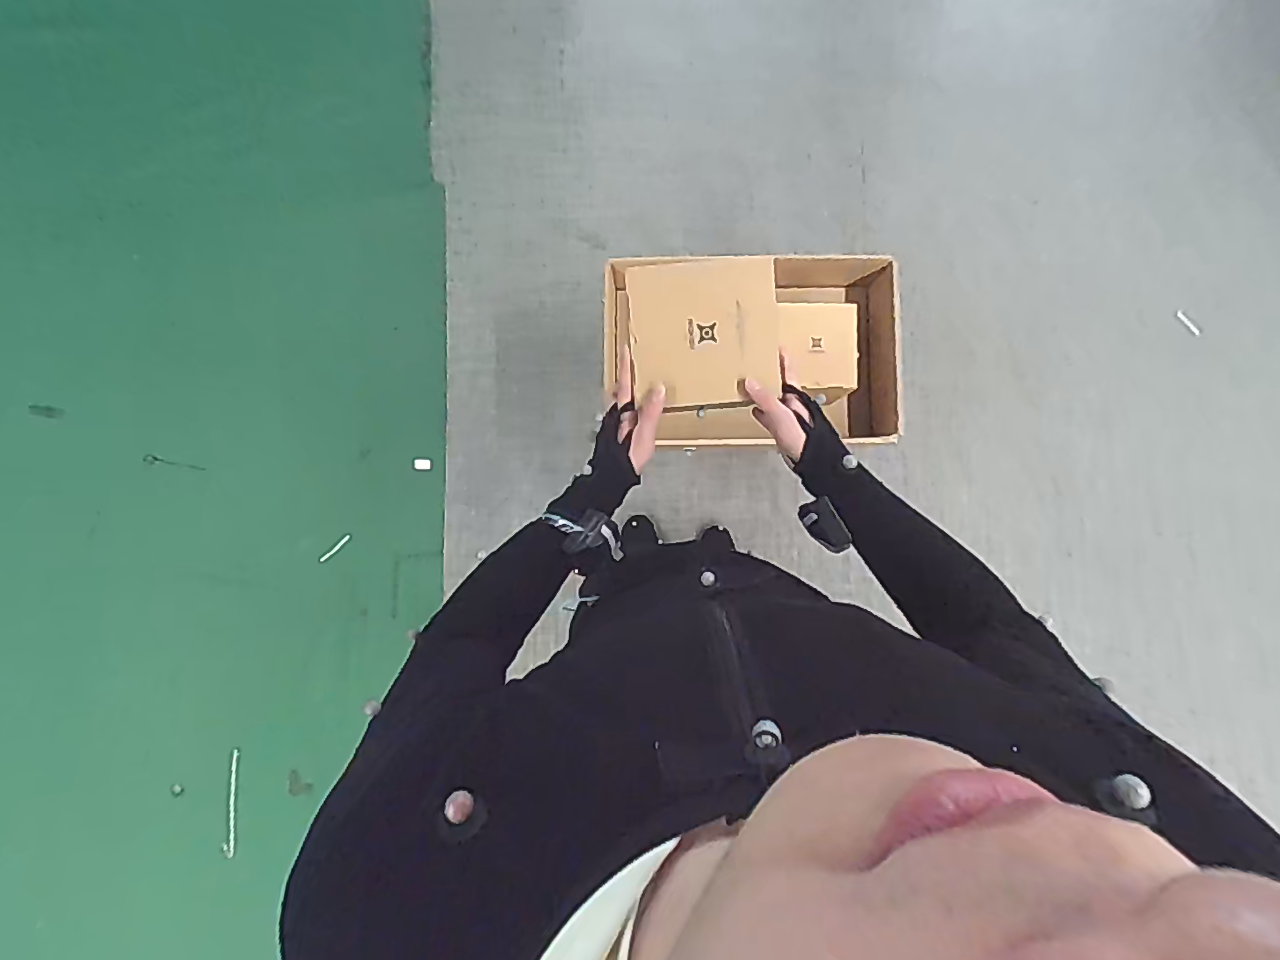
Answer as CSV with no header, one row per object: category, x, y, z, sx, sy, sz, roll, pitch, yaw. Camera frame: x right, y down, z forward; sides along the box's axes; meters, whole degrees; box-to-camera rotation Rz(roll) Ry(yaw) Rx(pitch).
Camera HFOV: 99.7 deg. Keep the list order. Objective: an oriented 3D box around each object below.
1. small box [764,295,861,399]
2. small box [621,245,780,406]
small box,0.361,-0.280,1.161,0.168,0.176,0.179,1,88,1
small box,0.070,-0.187,0.699,0.179,0.176,0.168,-5,95,-1
